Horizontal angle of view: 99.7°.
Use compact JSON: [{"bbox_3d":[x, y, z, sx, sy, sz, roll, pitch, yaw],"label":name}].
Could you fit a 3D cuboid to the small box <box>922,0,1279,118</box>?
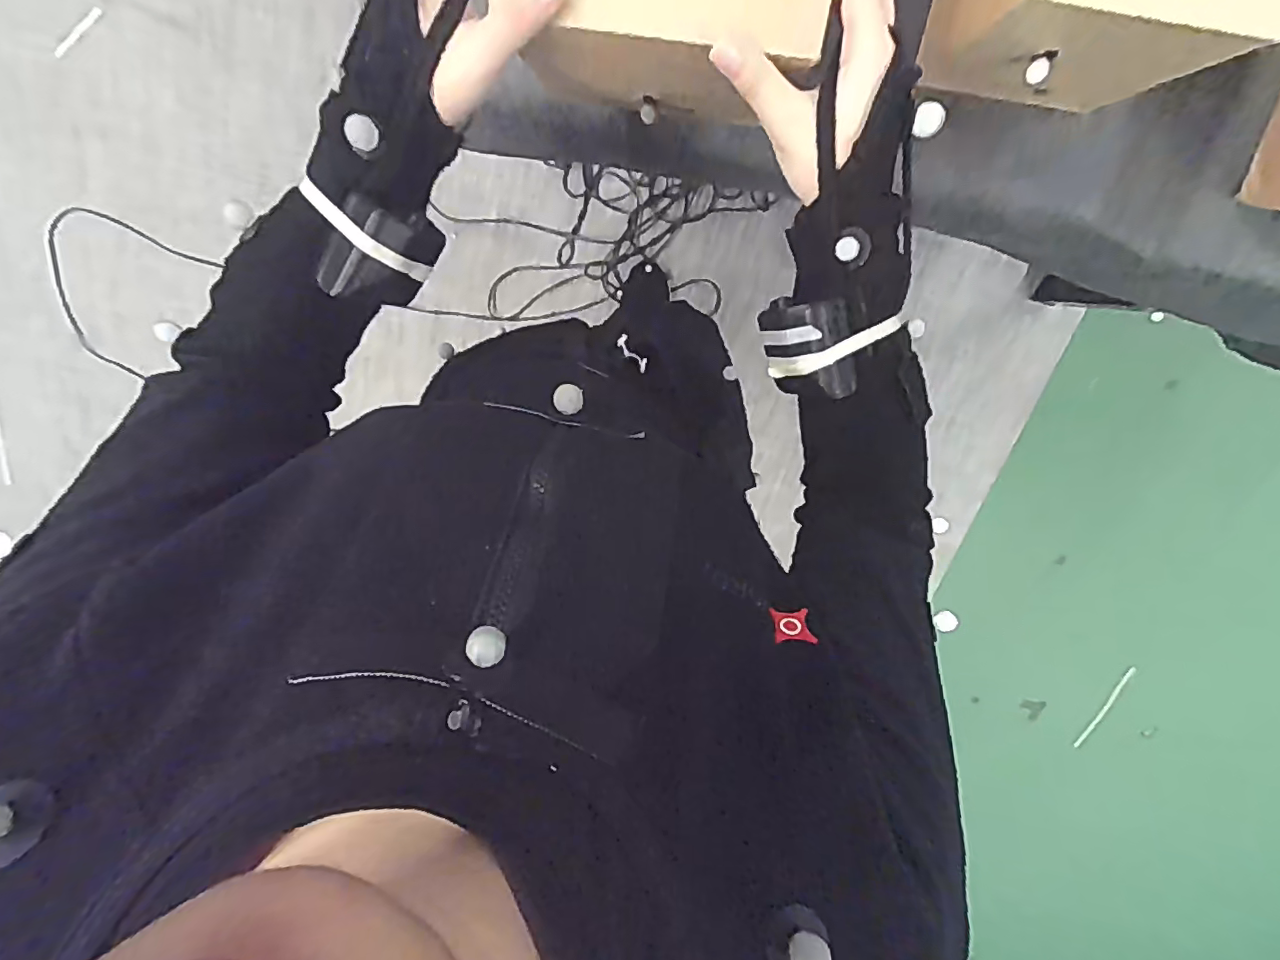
[{"bbox_3d":[0.333,-0.387,0.385,0.168,0.176,0.179,8,109,-2],"label":"small box"}]
